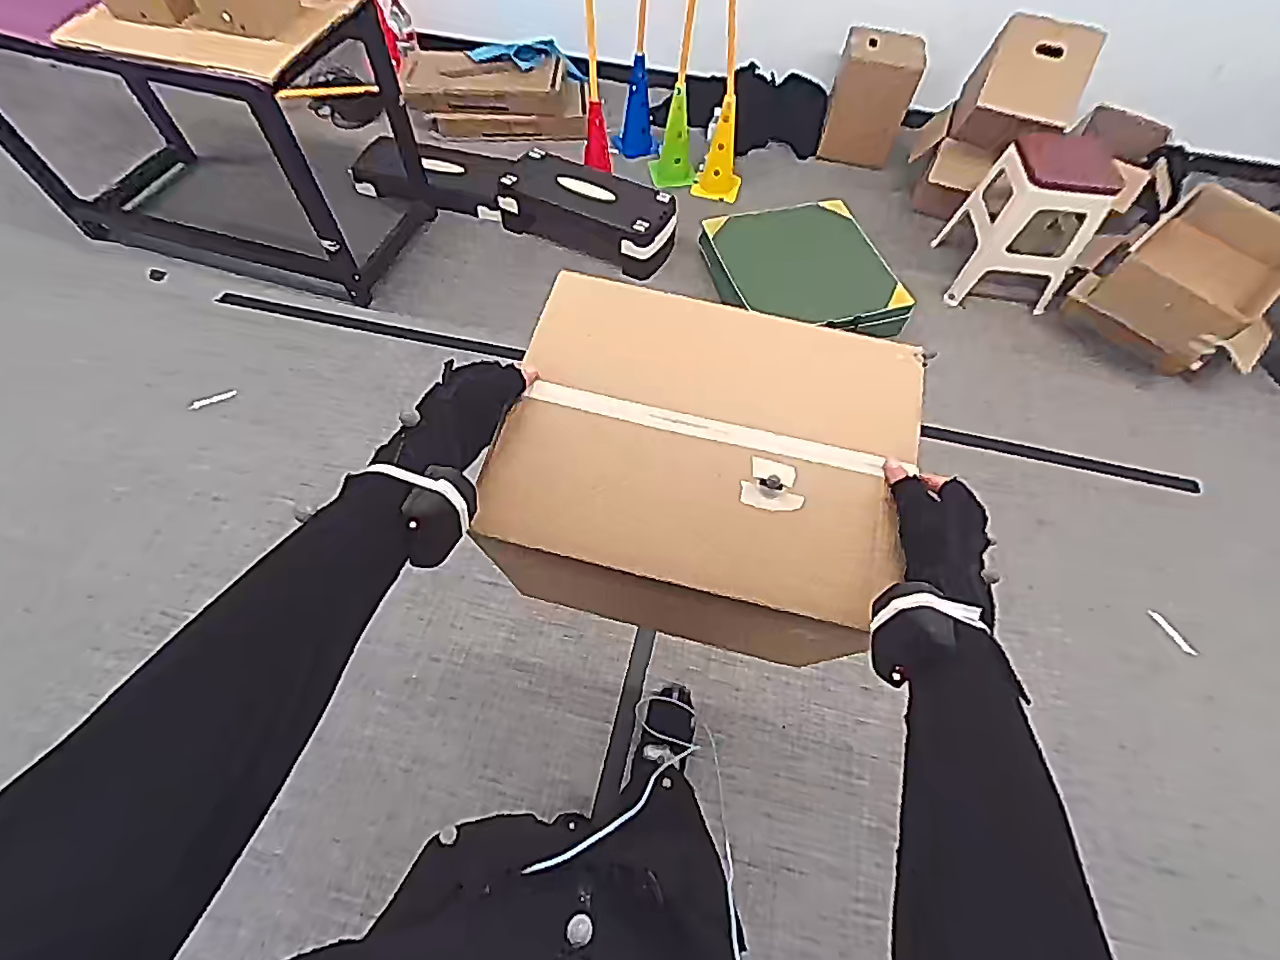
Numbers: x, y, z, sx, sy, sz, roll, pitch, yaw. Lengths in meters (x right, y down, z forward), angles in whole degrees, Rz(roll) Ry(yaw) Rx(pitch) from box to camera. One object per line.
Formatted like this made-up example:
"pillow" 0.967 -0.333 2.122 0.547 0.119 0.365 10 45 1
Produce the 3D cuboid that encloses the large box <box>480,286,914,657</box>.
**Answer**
"large box" 0.068 0.012 0.687 0.408 0.320 0.320 14 68 4
